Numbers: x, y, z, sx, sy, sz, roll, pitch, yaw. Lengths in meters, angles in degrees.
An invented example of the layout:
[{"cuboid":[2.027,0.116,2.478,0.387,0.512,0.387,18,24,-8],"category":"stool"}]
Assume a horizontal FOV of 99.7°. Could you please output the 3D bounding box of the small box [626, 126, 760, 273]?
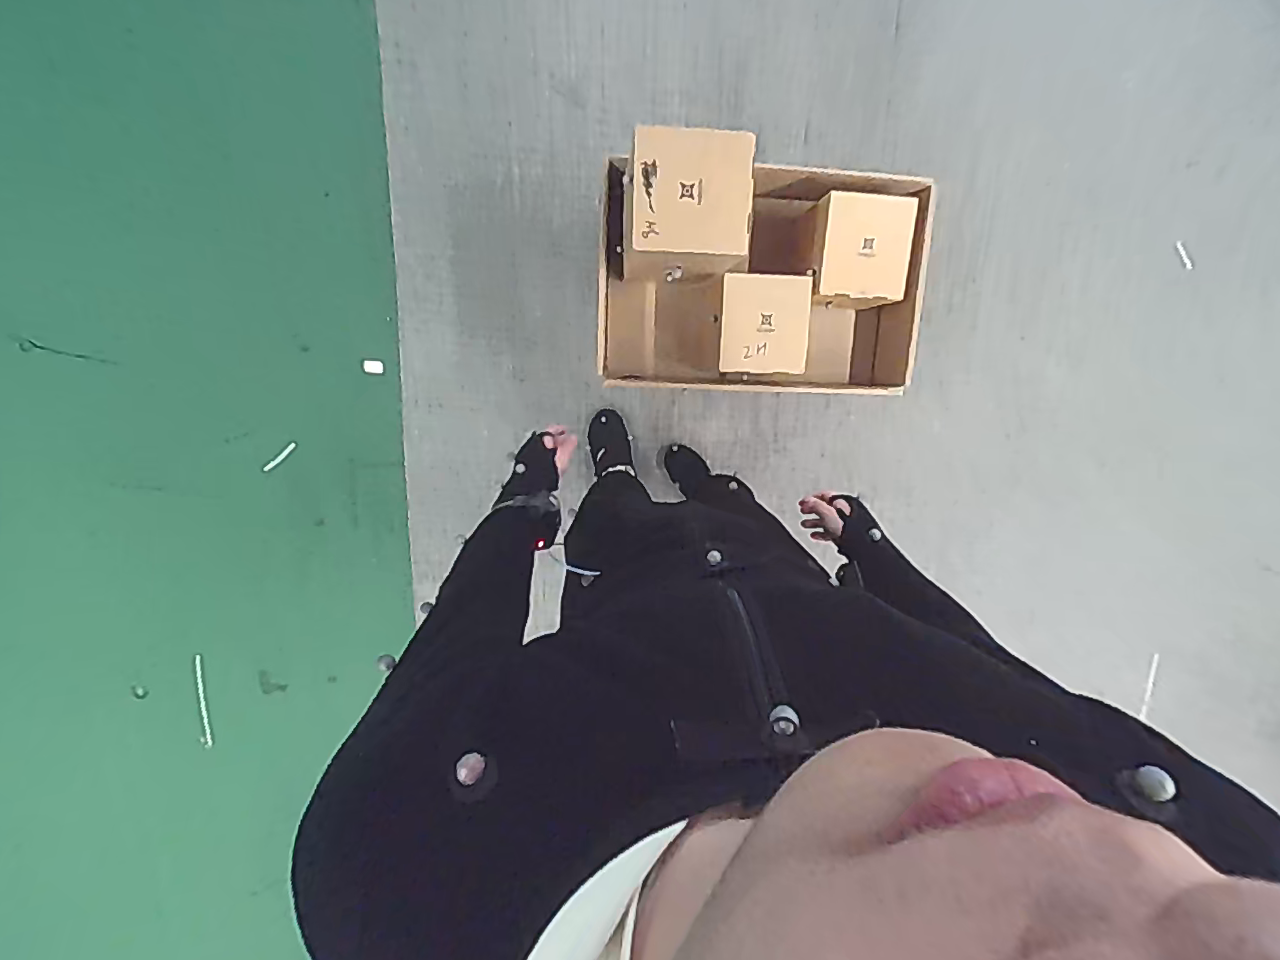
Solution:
[{"cuboid":[0.074,-0.428,0.855,0.179,0.176,0.168,1,102,-6],"category":"small box"}]
